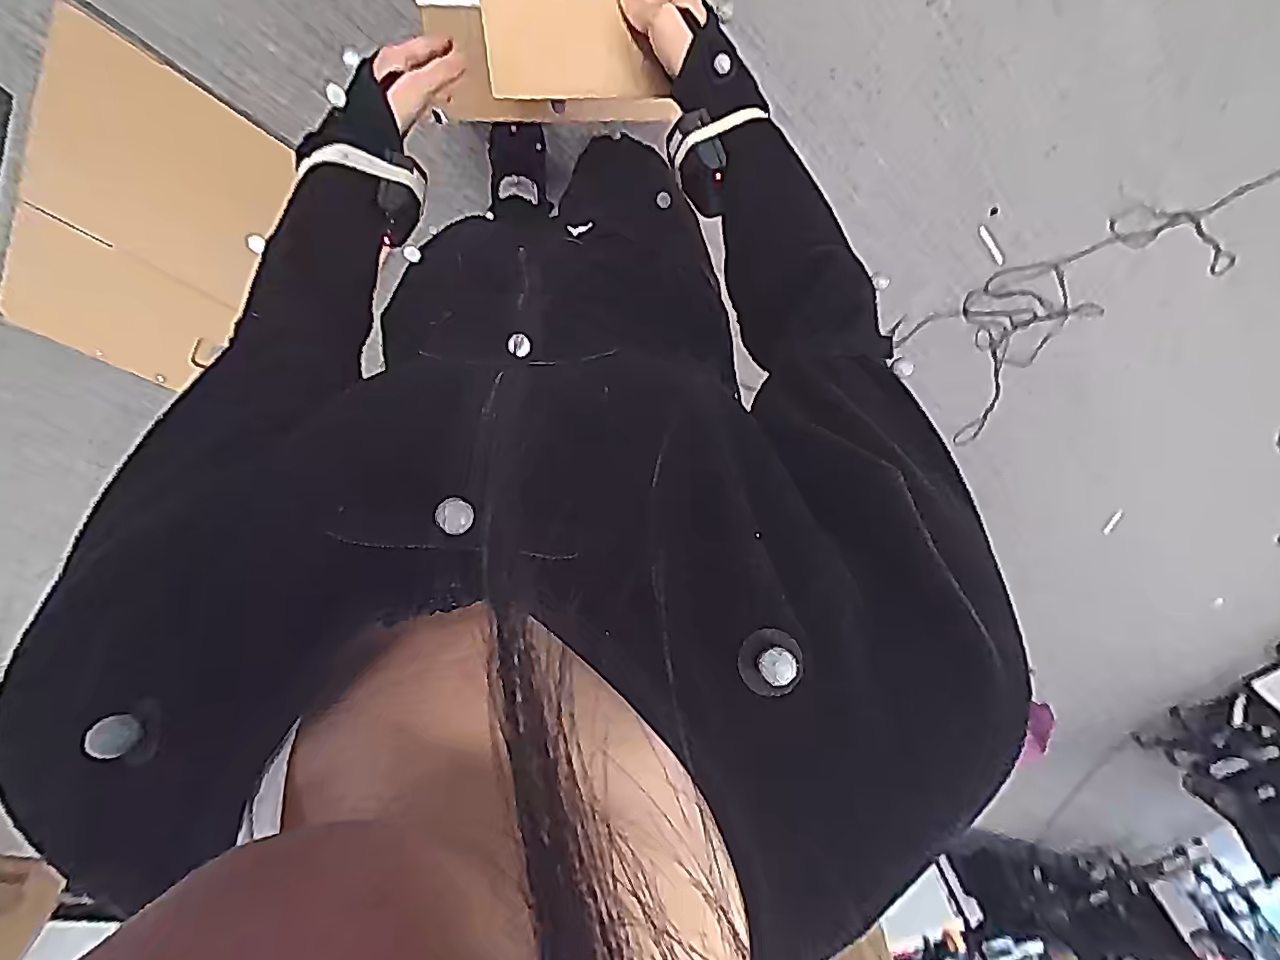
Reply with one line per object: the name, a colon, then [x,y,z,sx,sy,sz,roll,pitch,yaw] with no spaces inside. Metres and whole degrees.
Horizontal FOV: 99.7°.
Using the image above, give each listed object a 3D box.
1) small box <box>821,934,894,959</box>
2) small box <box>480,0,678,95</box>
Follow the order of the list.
small box: [0.676,1.511,1.637,0.168,0.176,0.179,33,115,-30]
small box: [-0.059,-0.462,0.492,0.168,0.176,0.179,-6,127,-7]
